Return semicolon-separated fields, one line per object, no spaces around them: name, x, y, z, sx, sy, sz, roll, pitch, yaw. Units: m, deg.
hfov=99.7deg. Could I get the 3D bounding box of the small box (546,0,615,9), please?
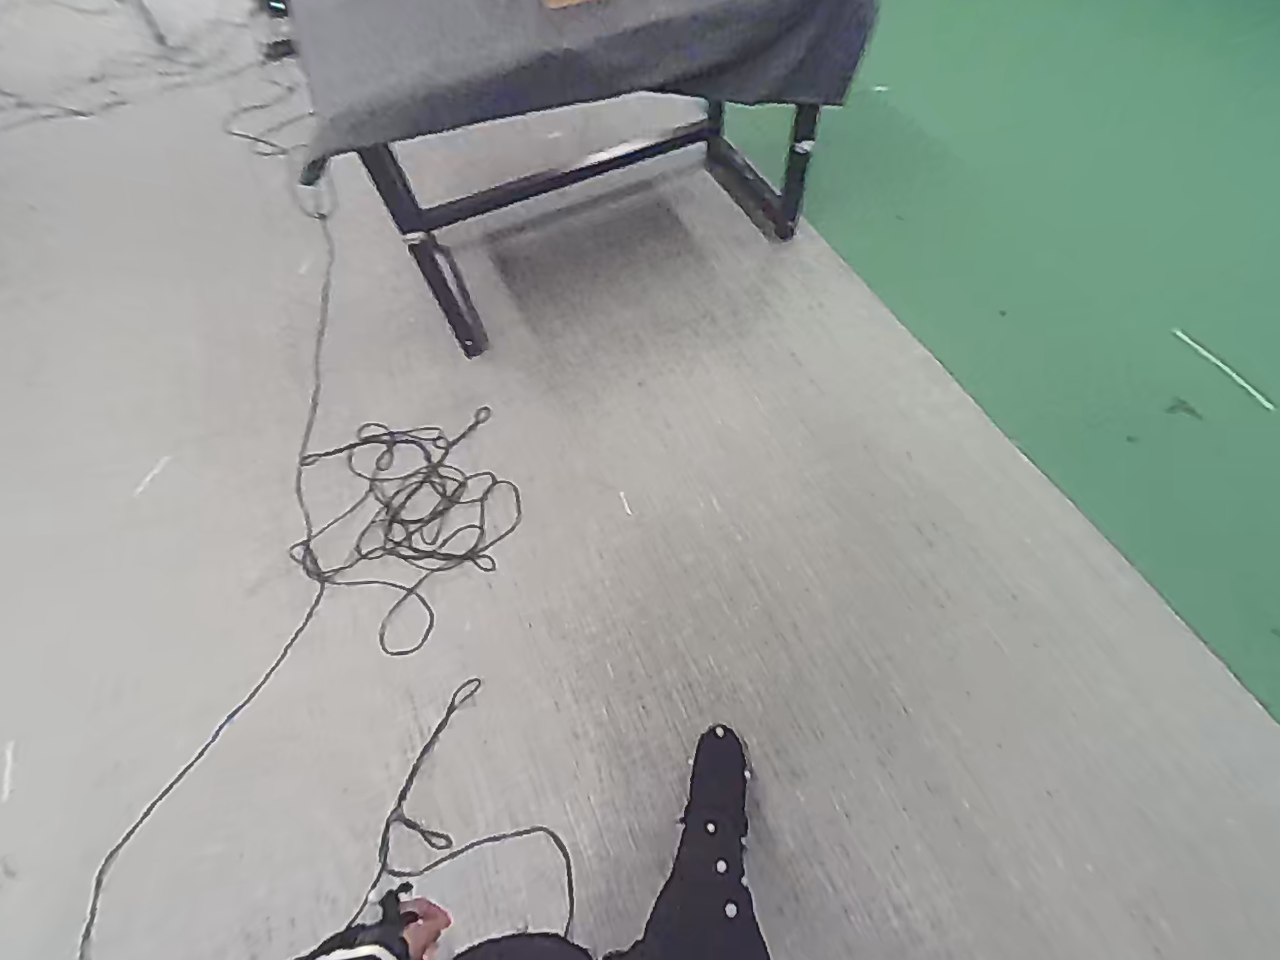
small box;-0.145;-1.160;1.165;0.168;0.176;0.179;-14;62;-4
